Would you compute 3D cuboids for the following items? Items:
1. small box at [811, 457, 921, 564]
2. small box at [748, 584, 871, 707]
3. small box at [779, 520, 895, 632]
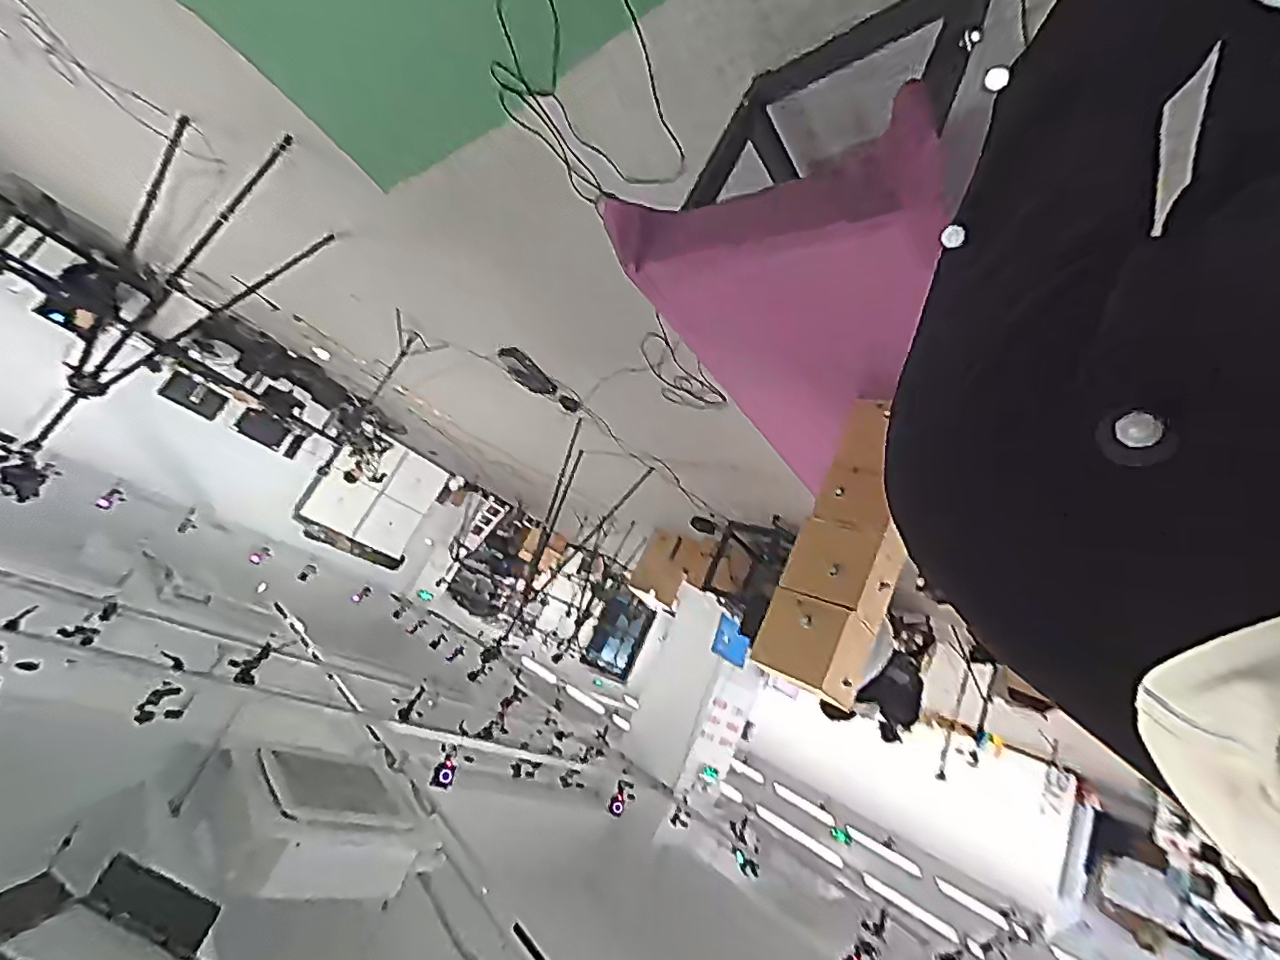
[{"bbox_3d":[0.512,0.064,1.216,0.168,0.176,0.179,12,159,42],"label":"small box"},{"bbox_3d":[0.362,0.343,1.133,0.168,0.176,0.179,12,157,44],"label":"small box"},{"bbox_3d":[0.436,0.202,1.176,0.179,0.176,0.168,12,157,42],"label":"small box"}]
